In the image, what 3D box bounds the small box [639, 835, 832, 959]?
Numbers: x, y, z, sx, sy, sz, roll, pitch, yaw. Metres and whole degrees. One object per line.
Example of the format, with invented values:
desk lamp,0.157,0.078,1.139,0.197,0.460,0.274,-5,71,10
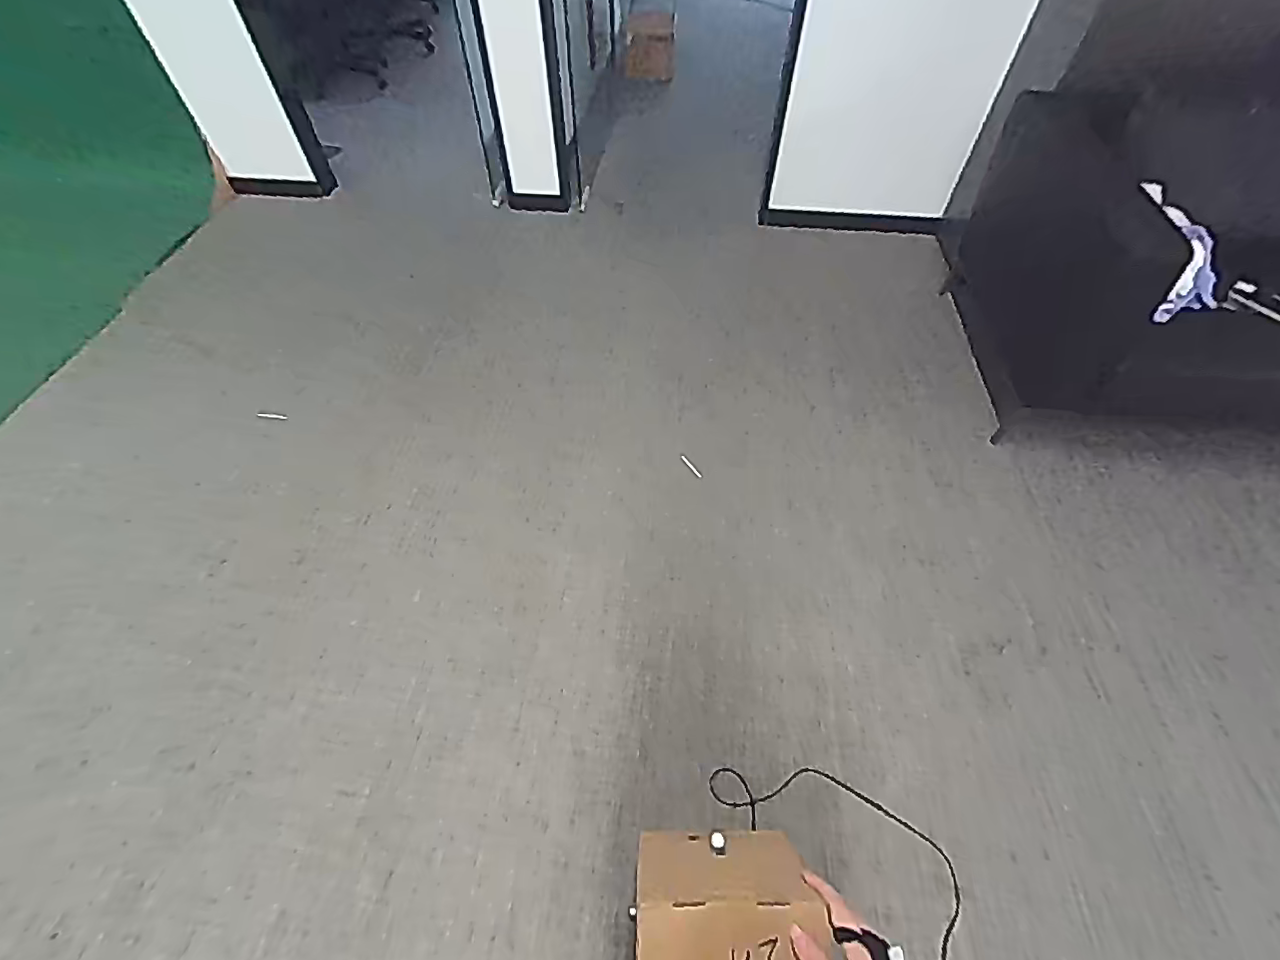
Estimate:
small box,0.085,0.478,0.525,0.168,0.176,0.179,-1,76,1
